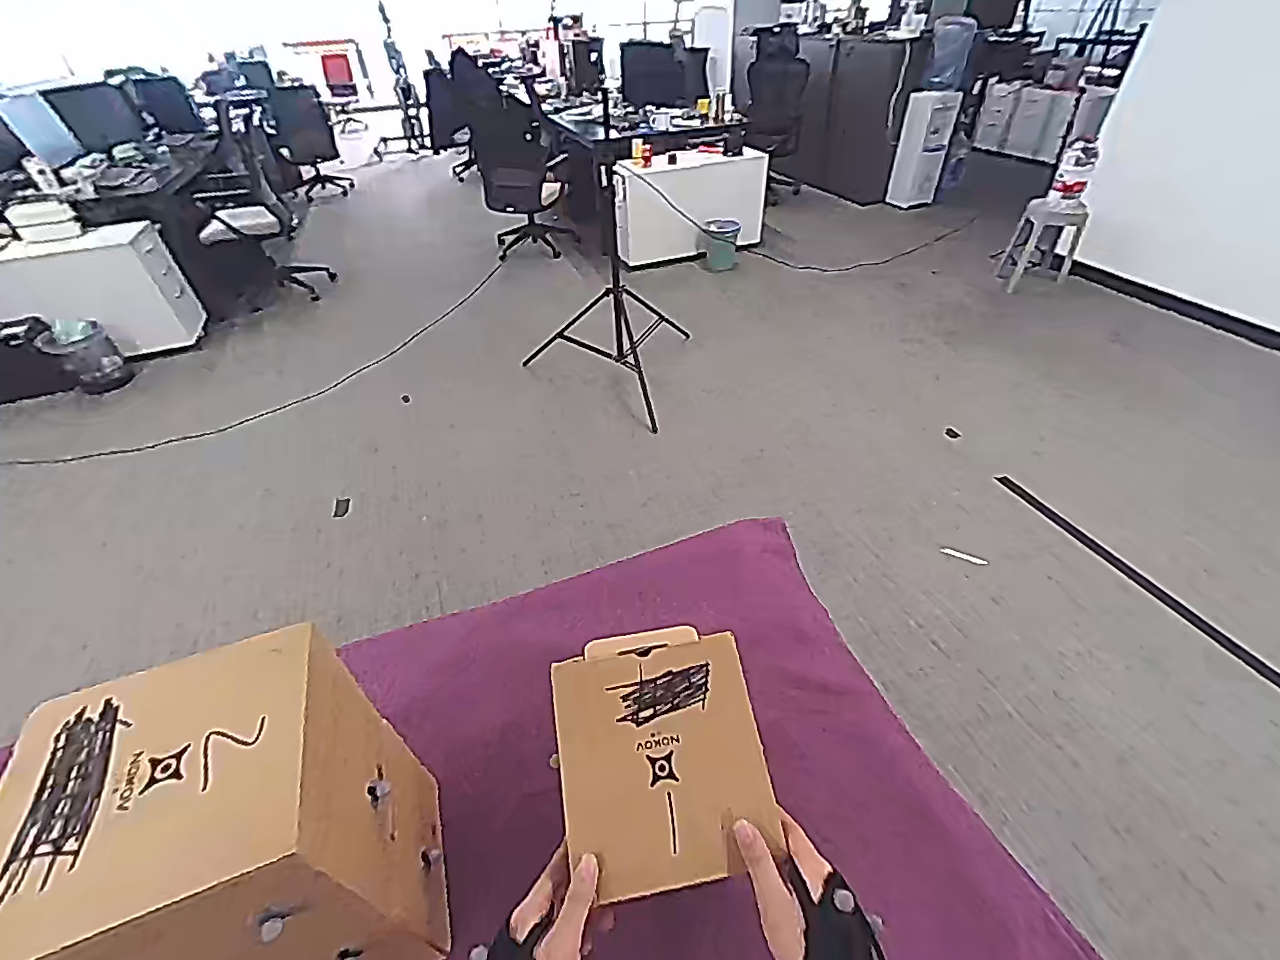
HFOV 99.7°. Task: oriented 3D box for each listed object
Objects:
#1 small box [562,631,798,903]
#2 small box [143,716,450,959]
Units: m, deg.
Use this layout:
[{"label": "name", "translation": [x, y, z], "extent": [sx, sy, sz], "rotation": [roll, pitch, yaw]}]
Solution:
[{"label": "small box", "translation": [0.024, 0.257, 0.502], "extent": [0.168, 0.176, 0.179], "rotation": [-8, 62, -4]}, {"label": "small box", "translation": [-0.289, 0.358, 0.493], "extent": [0.179, 0.176, 0.168], "rotation": [-15, 42, -15]}]
